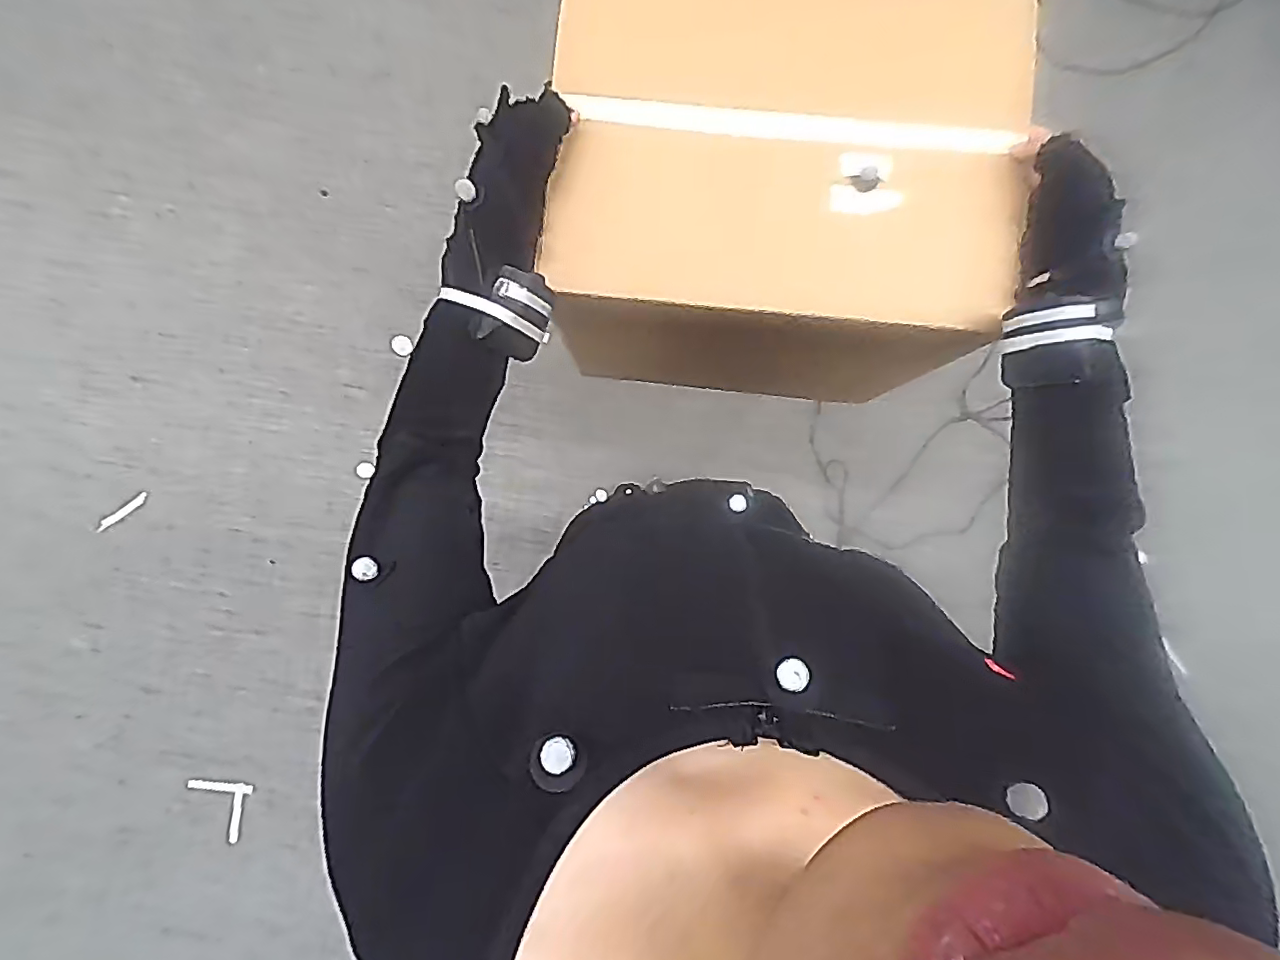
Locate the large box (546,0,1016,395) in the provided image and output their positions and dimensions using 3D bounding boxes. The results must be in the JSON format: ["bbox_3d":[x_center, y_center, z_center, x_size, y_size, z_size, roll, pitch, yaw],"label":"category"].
[{"bbox_3d":[0.126,-0.294,0.623,0.408,0.320,0.320,5,87,1],"label":"large box"}]
